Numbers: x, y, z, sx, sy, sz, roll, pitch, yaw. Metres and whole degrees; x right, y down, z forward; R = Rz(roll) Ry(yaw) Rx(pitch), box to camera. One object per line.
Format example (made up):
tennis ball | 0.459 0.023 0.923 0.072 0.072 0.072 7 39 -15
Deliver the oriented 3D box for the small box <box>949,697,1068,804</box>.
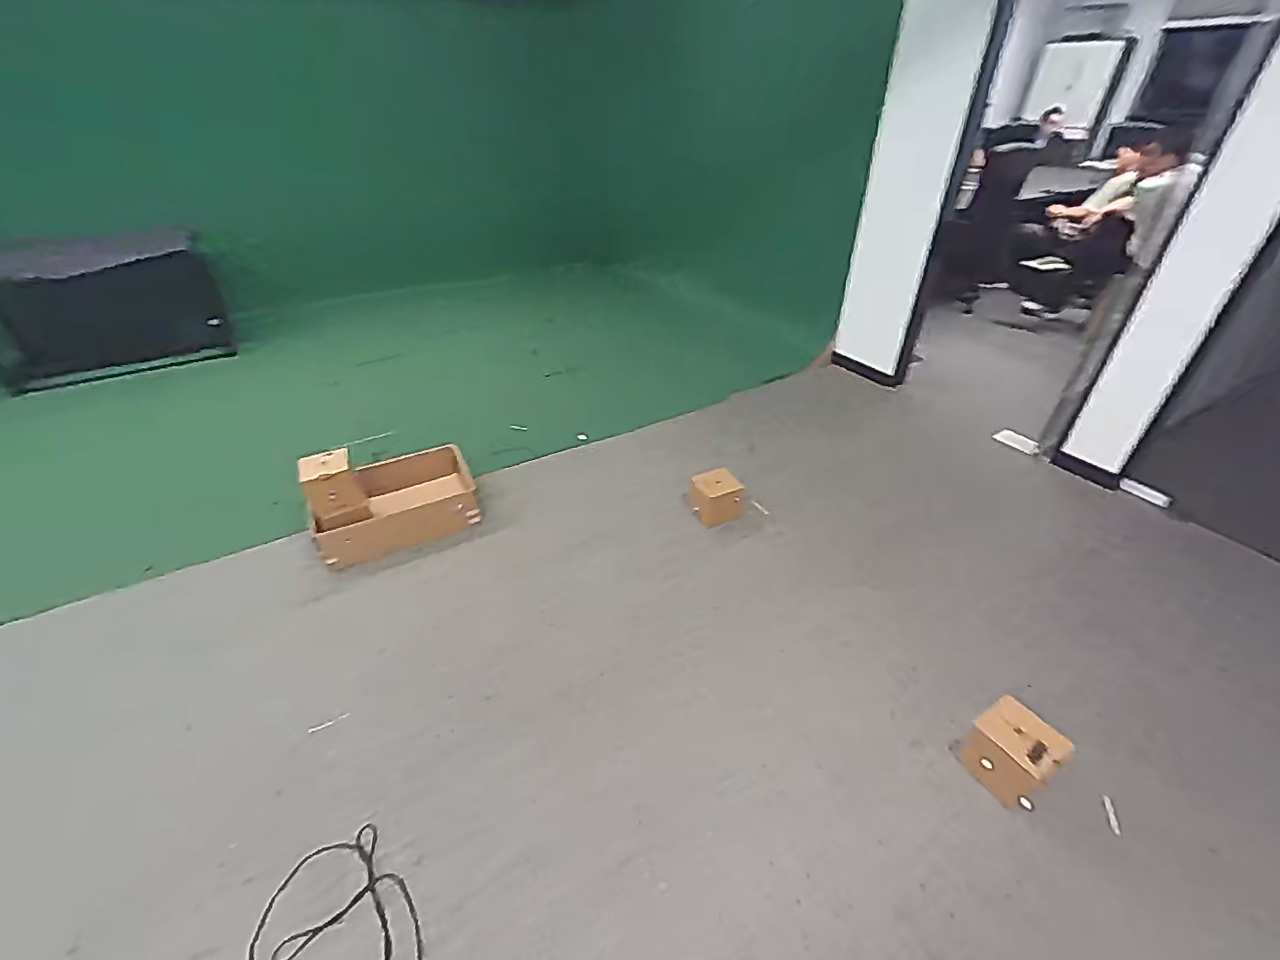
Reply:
small box | 0.972 0.726 1.441 0.168 0.176 0.179 -19 40 -23

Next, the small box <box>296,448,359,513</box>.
small box | -1.193 0.009 2.070 0.168 0.176 0.179 -17 41 -21

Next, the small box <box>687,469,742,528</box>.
small box | 0.314 0.080 2.316 0.179 0.176 0.168 -16 39 -20

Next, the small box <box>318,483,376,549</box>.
small box | -1.178 0.143 2.164 0.168 0.176 0.179 -21 42 -25
